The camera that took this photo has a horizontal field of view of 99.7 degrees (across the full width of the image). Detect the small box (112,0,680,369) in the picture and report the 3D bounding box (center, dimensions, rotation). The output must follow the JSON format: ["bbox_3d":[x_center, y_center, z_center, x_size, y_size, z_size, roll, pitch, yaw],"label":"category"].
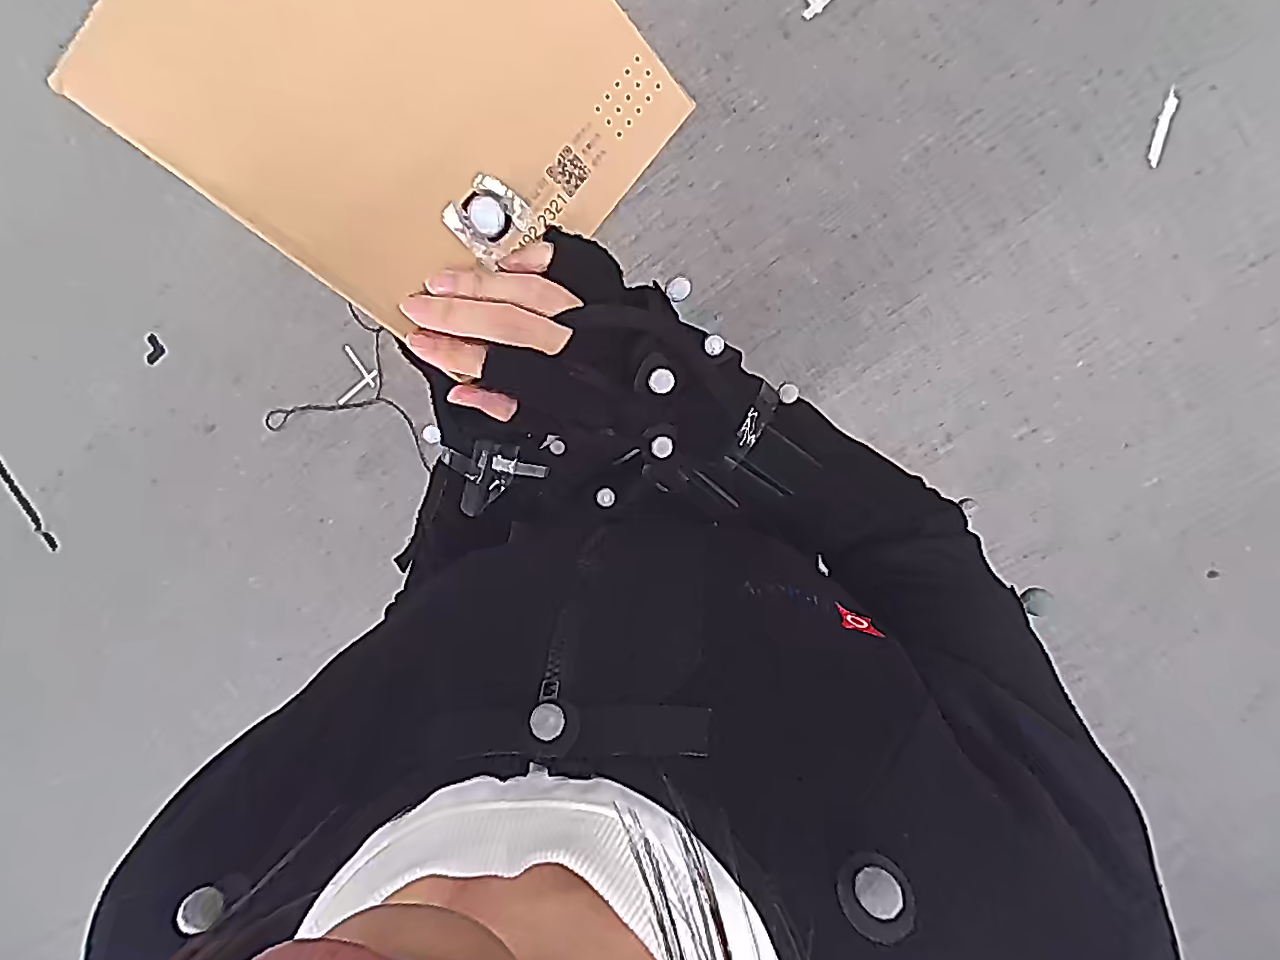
[{"bbox_3d":[-0.109,-0.185,0.301,0.176,0.179,0.168,37,97,-28],"label":"small box"}]
